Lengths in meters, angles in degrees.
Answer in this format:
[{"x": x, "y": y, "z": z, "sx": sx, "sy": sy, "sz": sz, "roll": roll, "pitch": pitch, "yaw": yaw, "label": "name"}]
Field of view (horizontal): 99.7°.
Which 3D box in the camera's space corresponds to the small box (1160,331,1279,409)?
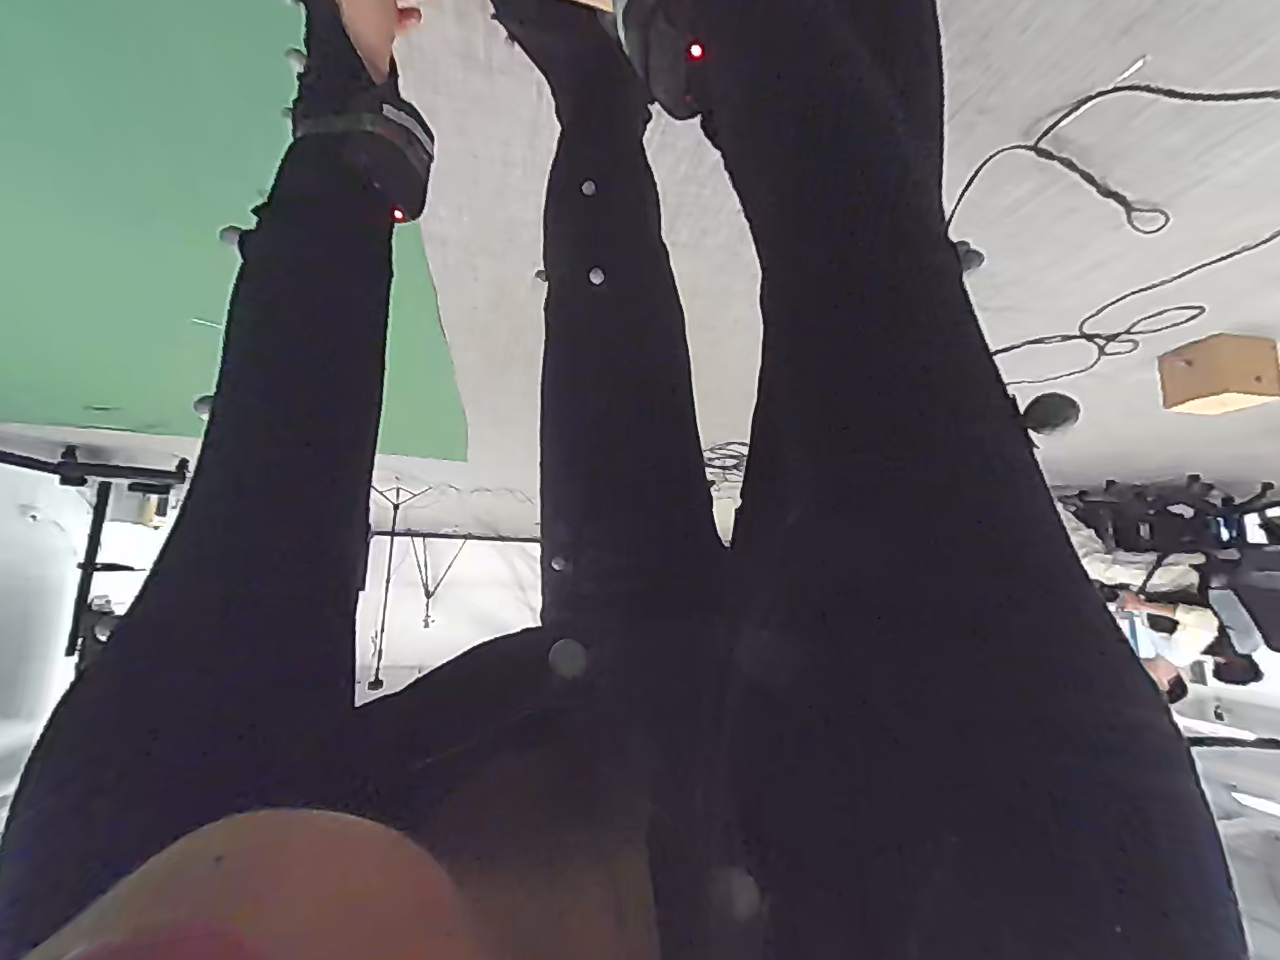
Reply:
[{"x": 1.633, "y": -0.308, "z": 1.527, "sx": 0.179, "sy": 0.176, "sz": 0.168, "roll": 4, "pitch": 170, "yaw": -5, "label": "small box"}]
